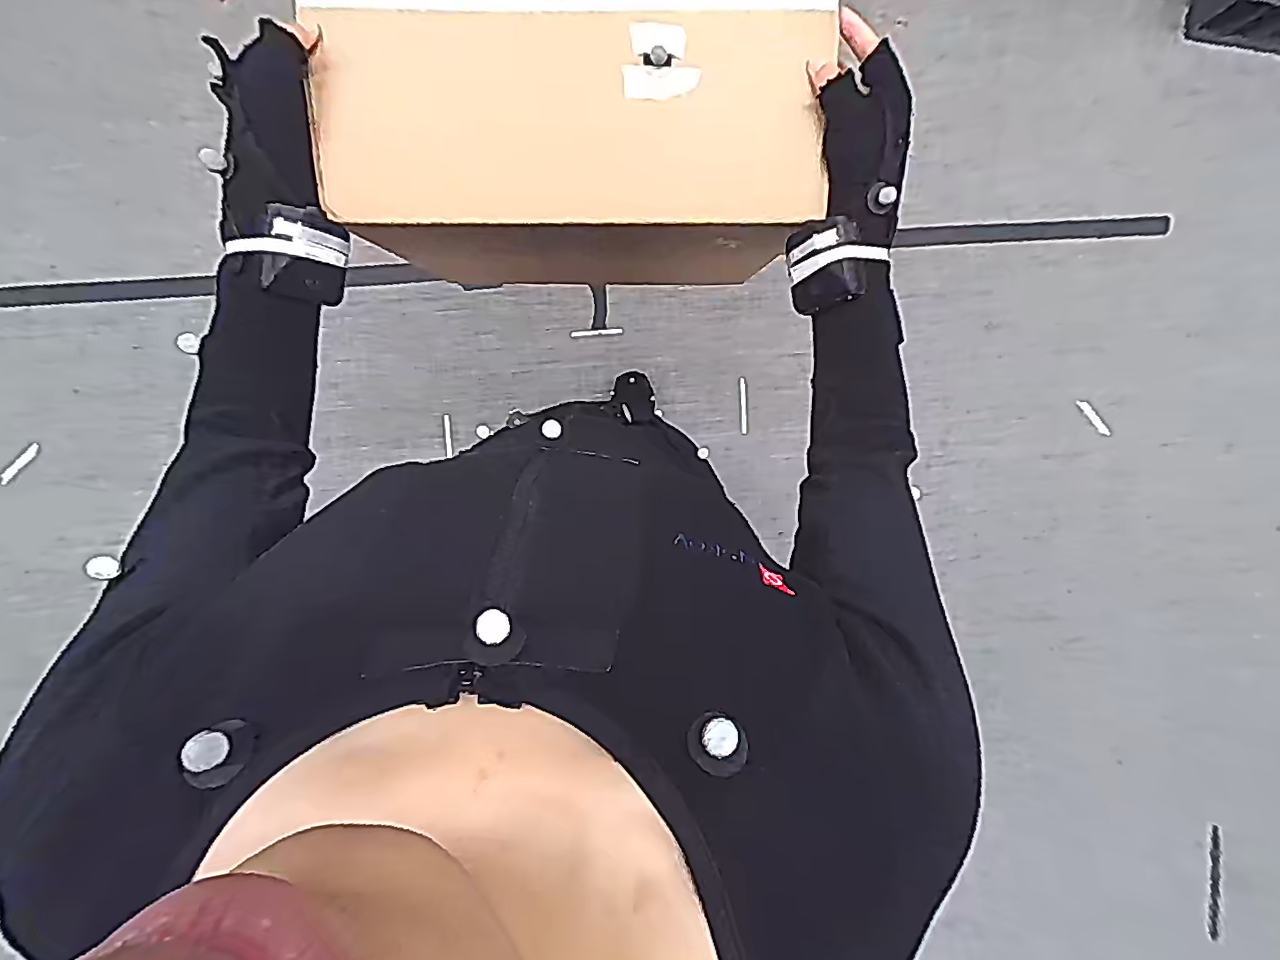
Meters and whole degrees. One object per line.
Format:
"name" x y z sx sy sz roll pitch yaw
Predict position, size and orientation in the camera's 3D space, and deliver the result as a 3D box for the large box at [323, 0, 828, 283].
"large box" -0.055 -0.398 0.569 0.408 0.320 0.320 -1 102 -2
